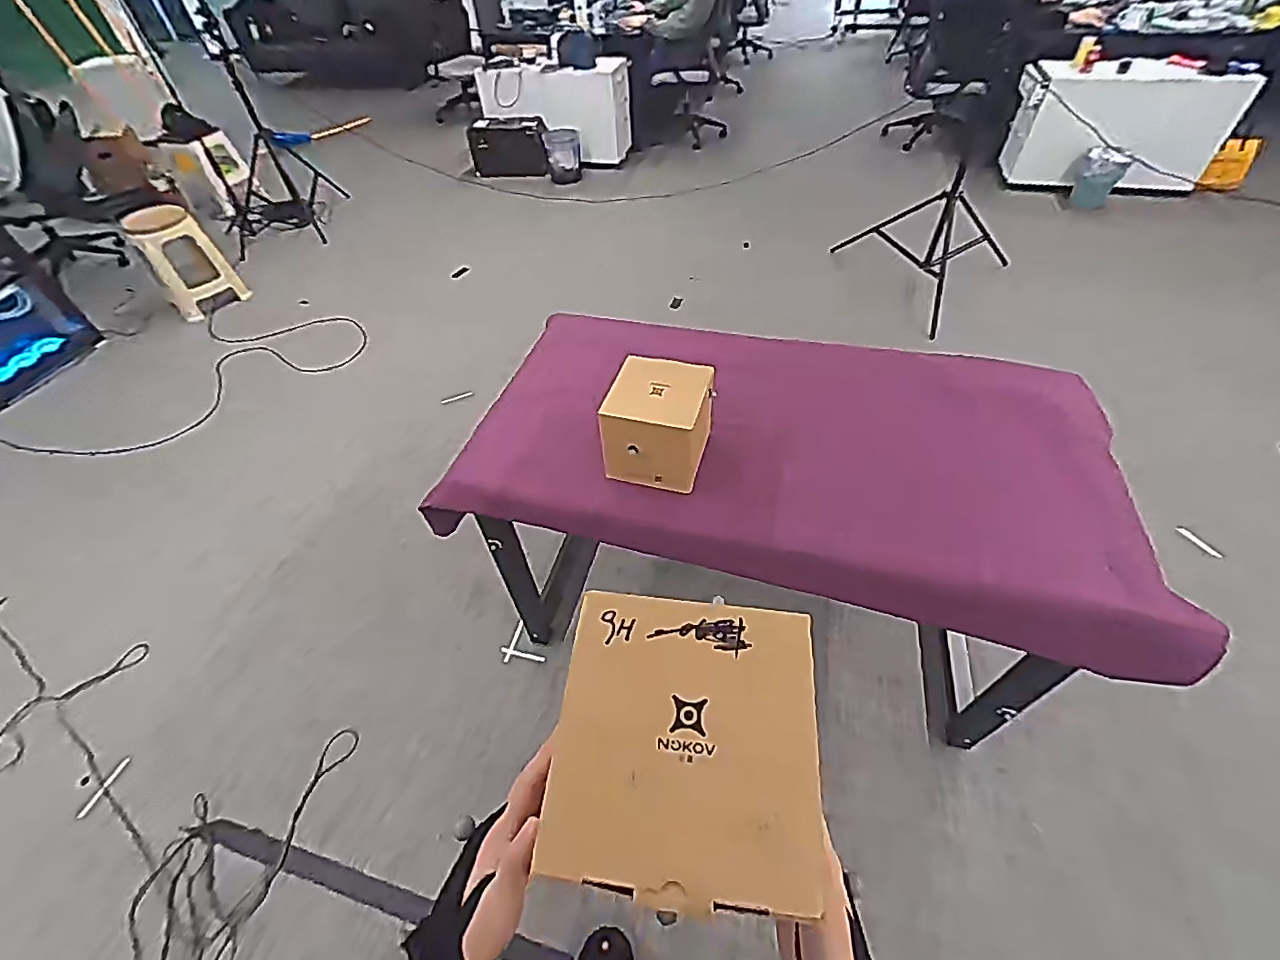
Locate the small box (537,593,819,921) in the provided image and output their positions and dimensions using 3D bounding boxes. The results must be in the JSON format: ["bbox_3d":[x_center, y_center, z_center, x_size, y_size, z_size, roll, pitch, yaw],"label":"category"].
[{"bbox_3d":[0.033,0.208,0.417,0.168,0.176,0.179,5,56,5],"label":"small box"}]

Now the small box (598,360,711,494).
[{"bbox_3d":[0.033,-0.097,1.011,0.168,0.176,0.179,11,49,12],"label":"small box"}]
